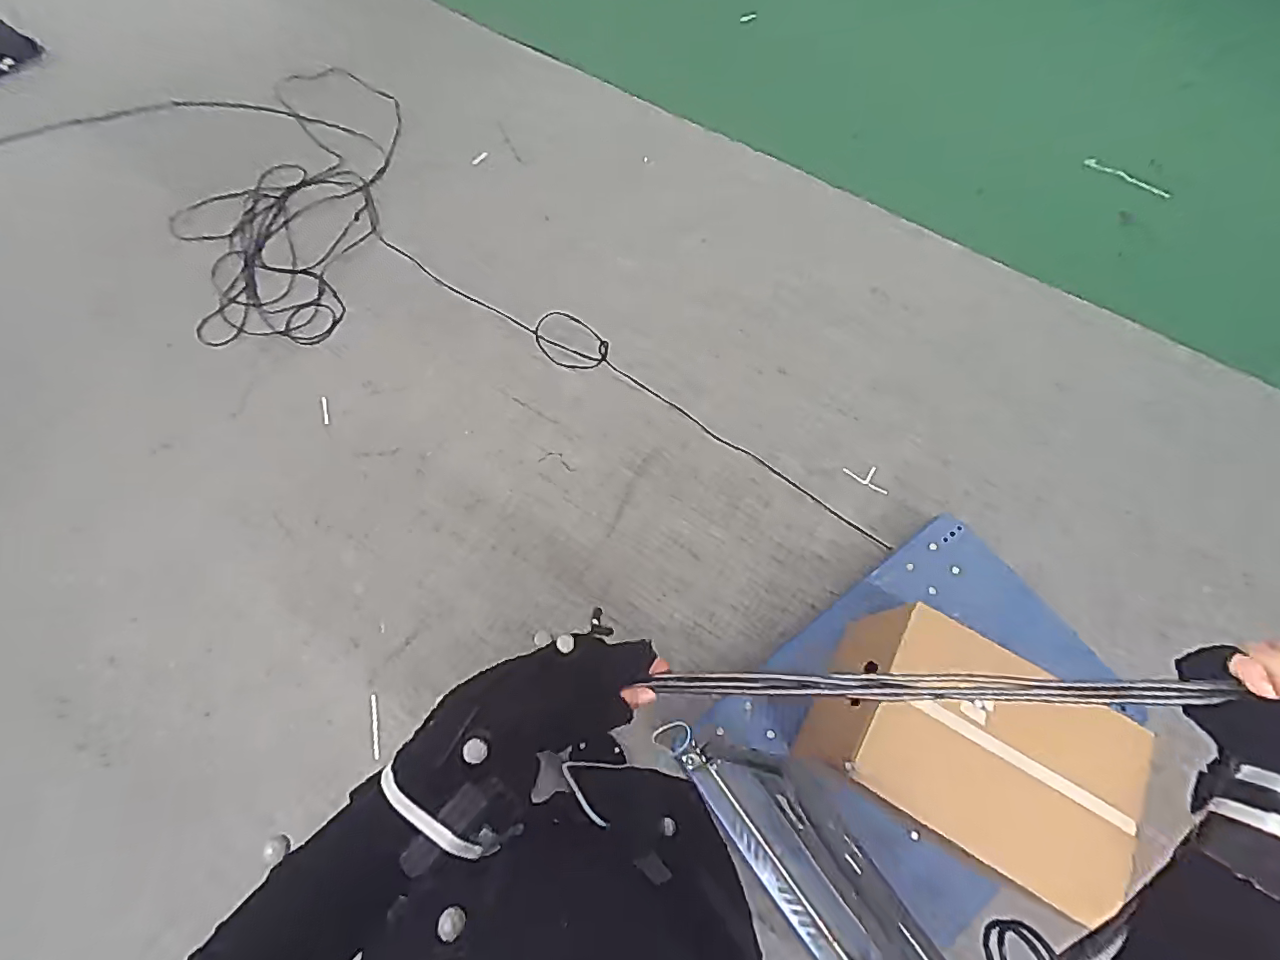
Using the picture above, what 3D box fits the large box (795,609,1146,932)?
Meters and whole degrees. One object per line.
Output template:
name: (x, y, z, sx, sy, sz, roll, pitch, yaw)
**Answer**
large box: (0.565, 0.489, 0.992, 0.408, 0.320, 0.320, 30, 71, 11)
